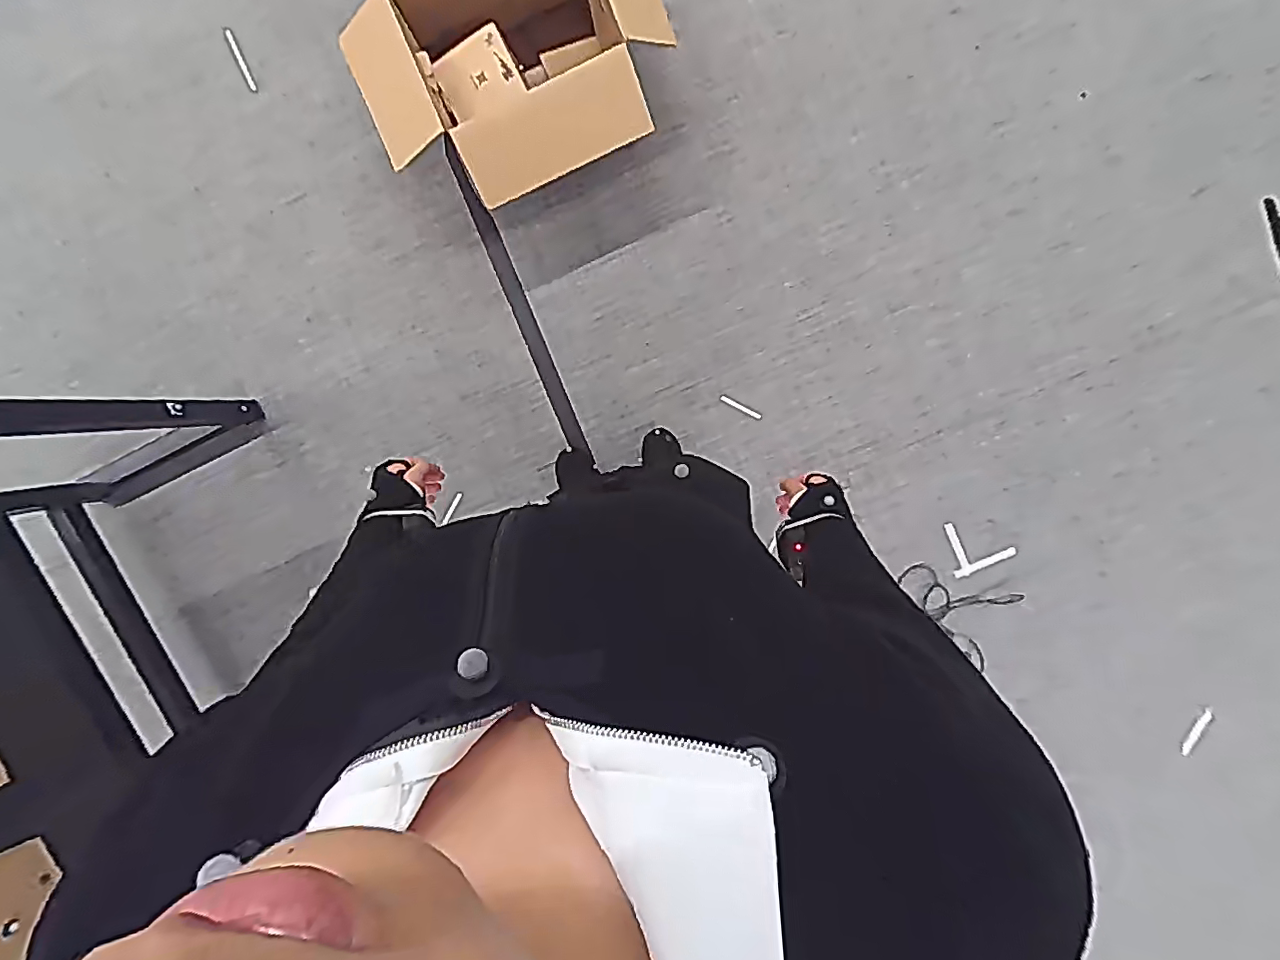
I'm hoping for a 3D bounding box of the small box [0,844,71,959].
[{"bbox_3d":[-1.008,0.684,0.793,0.179,0.176,0.168,-23,96,5],"label":"small box"}]
